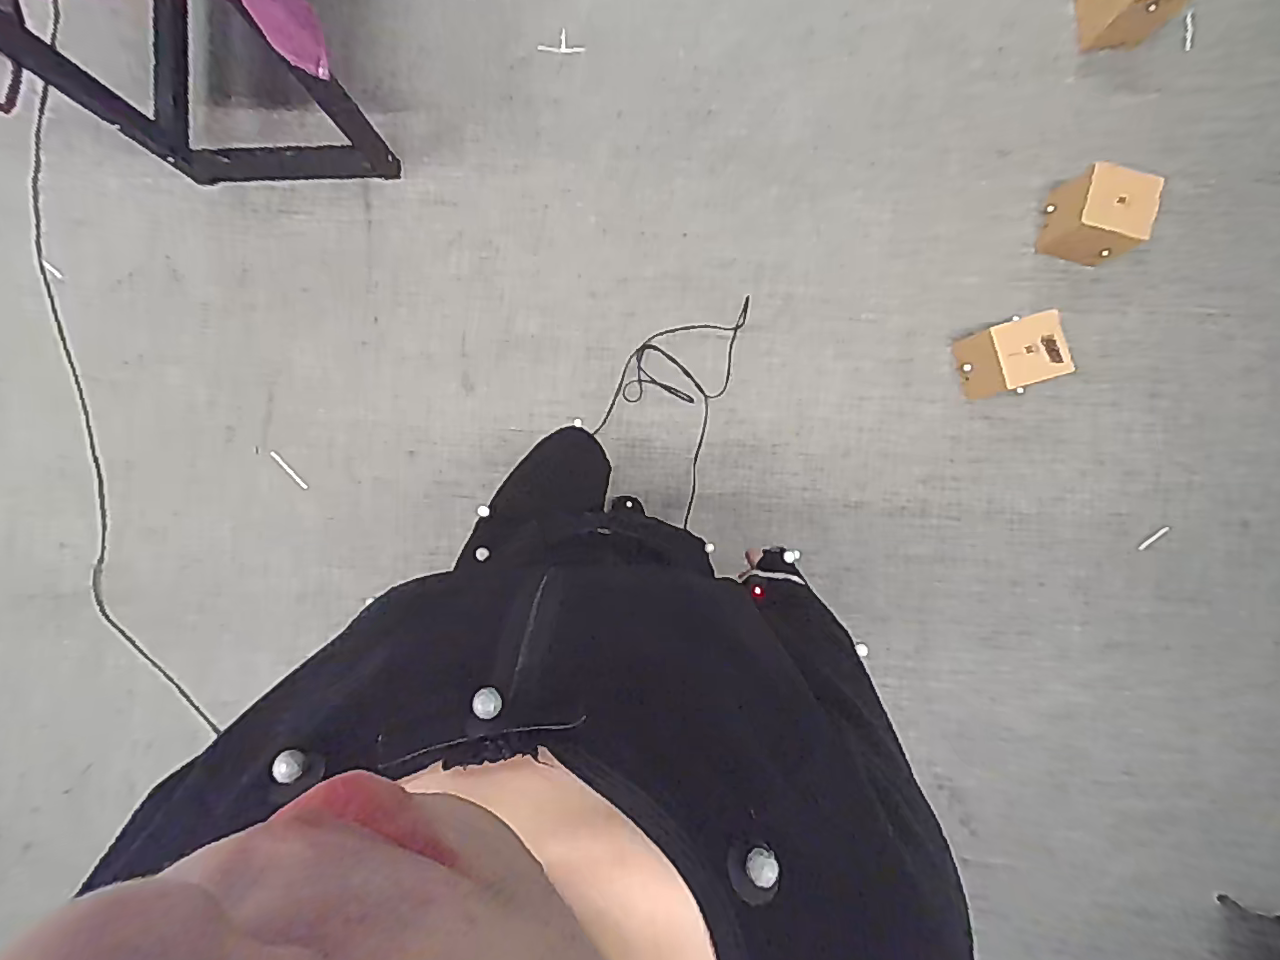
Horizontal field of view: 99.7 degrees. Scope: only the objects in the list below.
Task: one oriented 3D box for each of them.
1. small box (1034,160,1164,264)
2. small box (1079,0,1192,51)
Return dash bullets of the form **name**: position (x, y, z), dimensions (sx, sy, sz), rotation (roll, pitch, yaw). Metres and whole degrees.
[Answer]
- **small box**: position (1.198, -0.694, 1.422), dimensions (0.179, 0.176, 0.168), rotation (16, 89, 1)
- **small box**: position (1.303, -1.284, 1.424), dimensions (0.168, 0.176, 0.179), rotation (-4, 89, 1)
